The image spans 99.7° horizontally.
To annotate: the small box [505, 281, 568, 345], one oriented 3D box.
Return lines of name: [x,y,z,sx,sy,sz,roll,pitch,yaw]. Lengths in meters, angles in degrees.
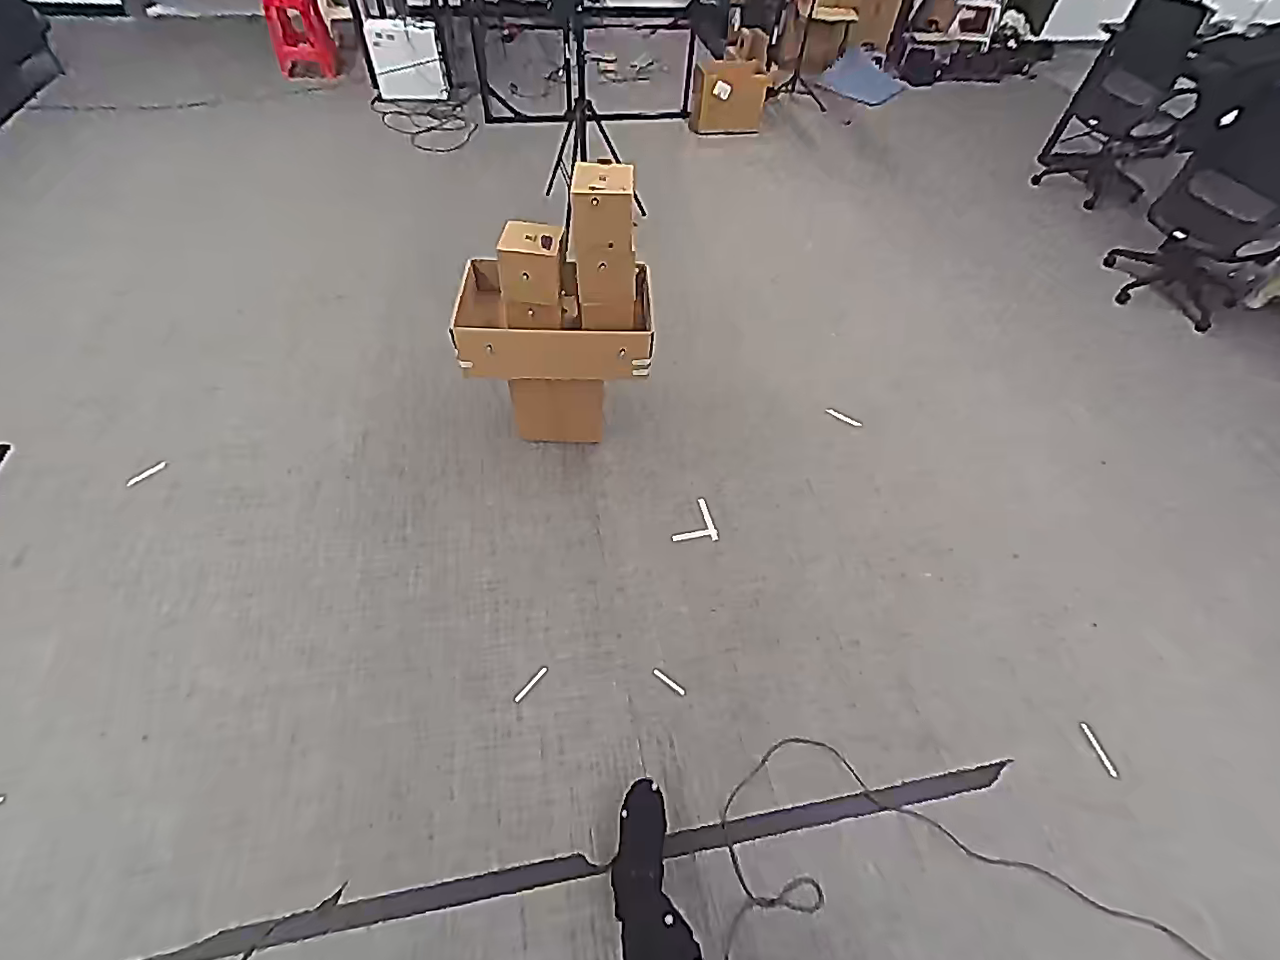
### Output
small box: [-0.330,-0.560,1.767,0.179,0.176,0.168,2,53,-2]

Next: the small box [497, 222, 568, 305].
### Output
small box: [-0.316,-0.648,1.630,0.179,0.176,0.168,6,53,0]

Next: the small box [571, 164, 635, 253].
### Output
small box: [-0.099,-0.762,1.517,0.168,0.176,0.179,1,52,0]
